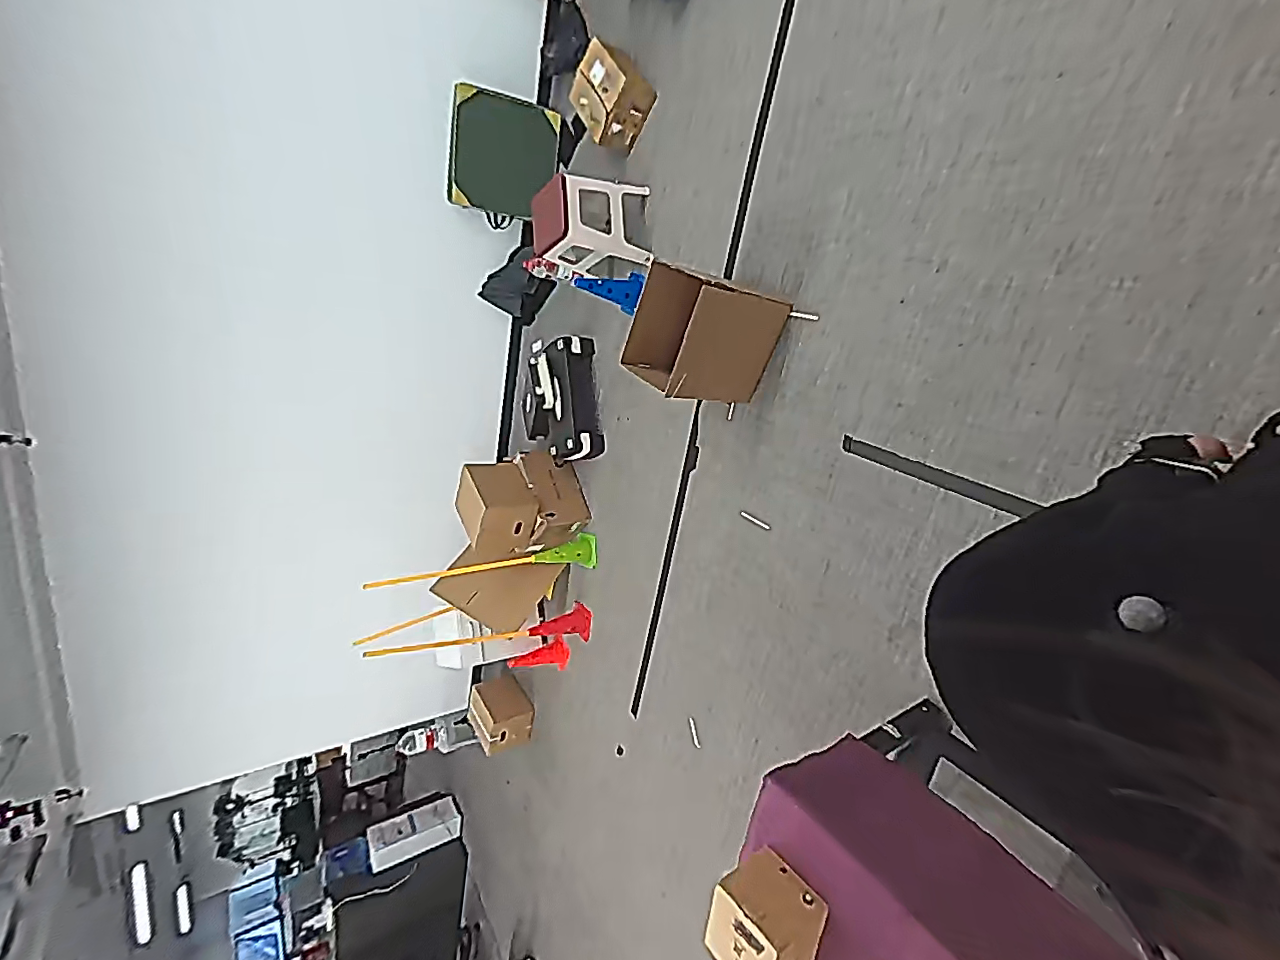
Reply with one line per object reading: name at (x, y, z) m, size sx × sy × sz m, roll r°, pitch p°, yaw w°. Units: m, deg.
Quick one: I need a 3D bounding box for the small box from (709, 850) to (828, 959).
small box at (0.272, 0.937, 1.140) m, size 0.168 × 0.176 × 0.179 m, roll 24°, pitch 112°, yaw 49°
